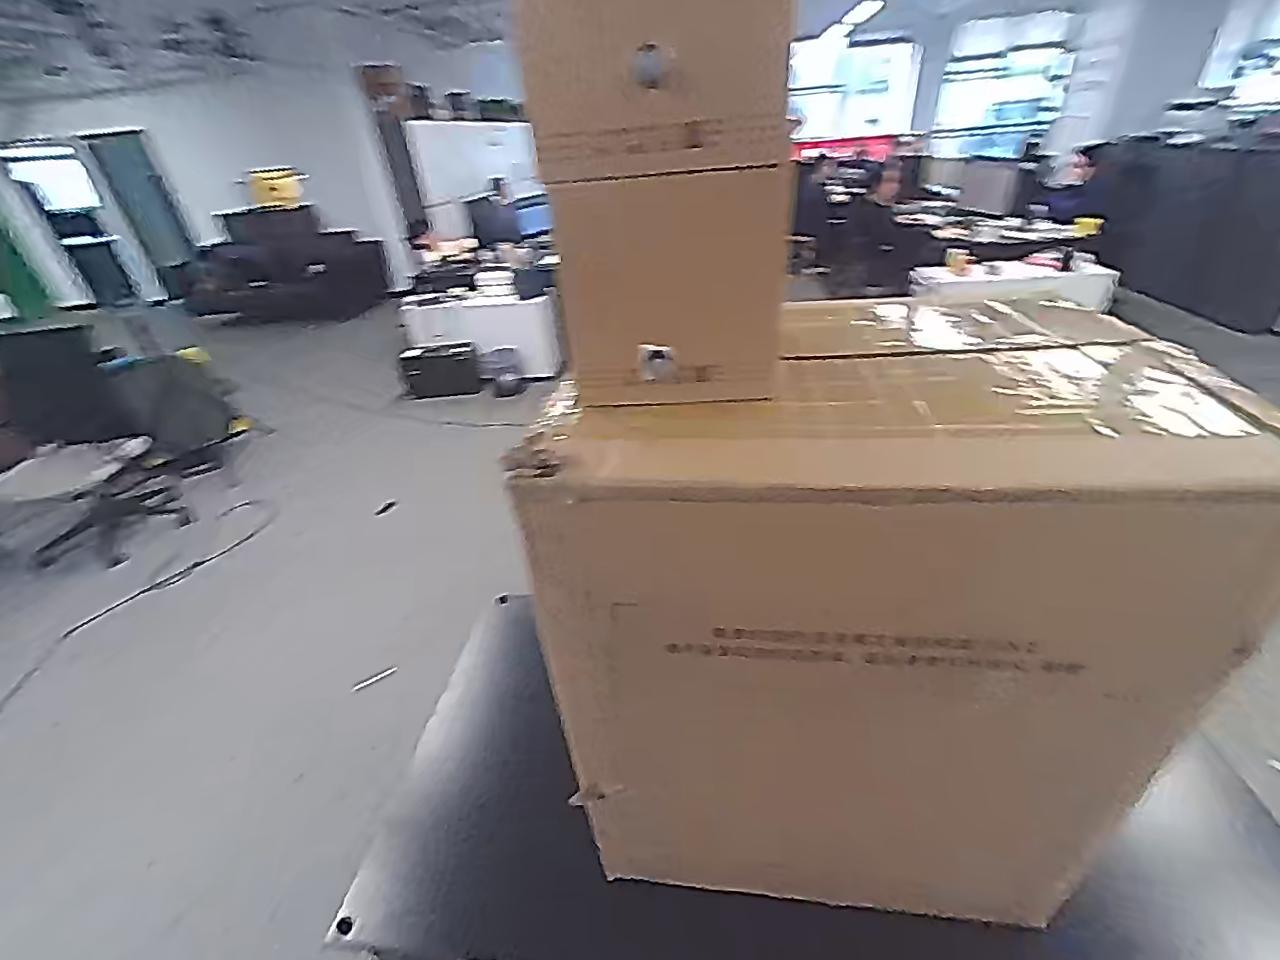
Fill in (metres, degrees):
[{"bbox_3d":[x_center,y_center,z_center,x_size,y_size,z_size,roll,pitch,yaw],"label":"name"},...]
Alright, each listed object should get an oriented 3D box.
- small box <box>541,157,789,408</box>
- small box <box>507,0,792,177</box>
[{"bbox_3d":[0.023,-0.175,0.463,0.168,0.176,0.179,-4,35,3],"label":"small box"},{"bbox_3d":[0.007,-0.311,0.370,0.168,0.176,0.179,-2,34,5],"label":"small box"}]
